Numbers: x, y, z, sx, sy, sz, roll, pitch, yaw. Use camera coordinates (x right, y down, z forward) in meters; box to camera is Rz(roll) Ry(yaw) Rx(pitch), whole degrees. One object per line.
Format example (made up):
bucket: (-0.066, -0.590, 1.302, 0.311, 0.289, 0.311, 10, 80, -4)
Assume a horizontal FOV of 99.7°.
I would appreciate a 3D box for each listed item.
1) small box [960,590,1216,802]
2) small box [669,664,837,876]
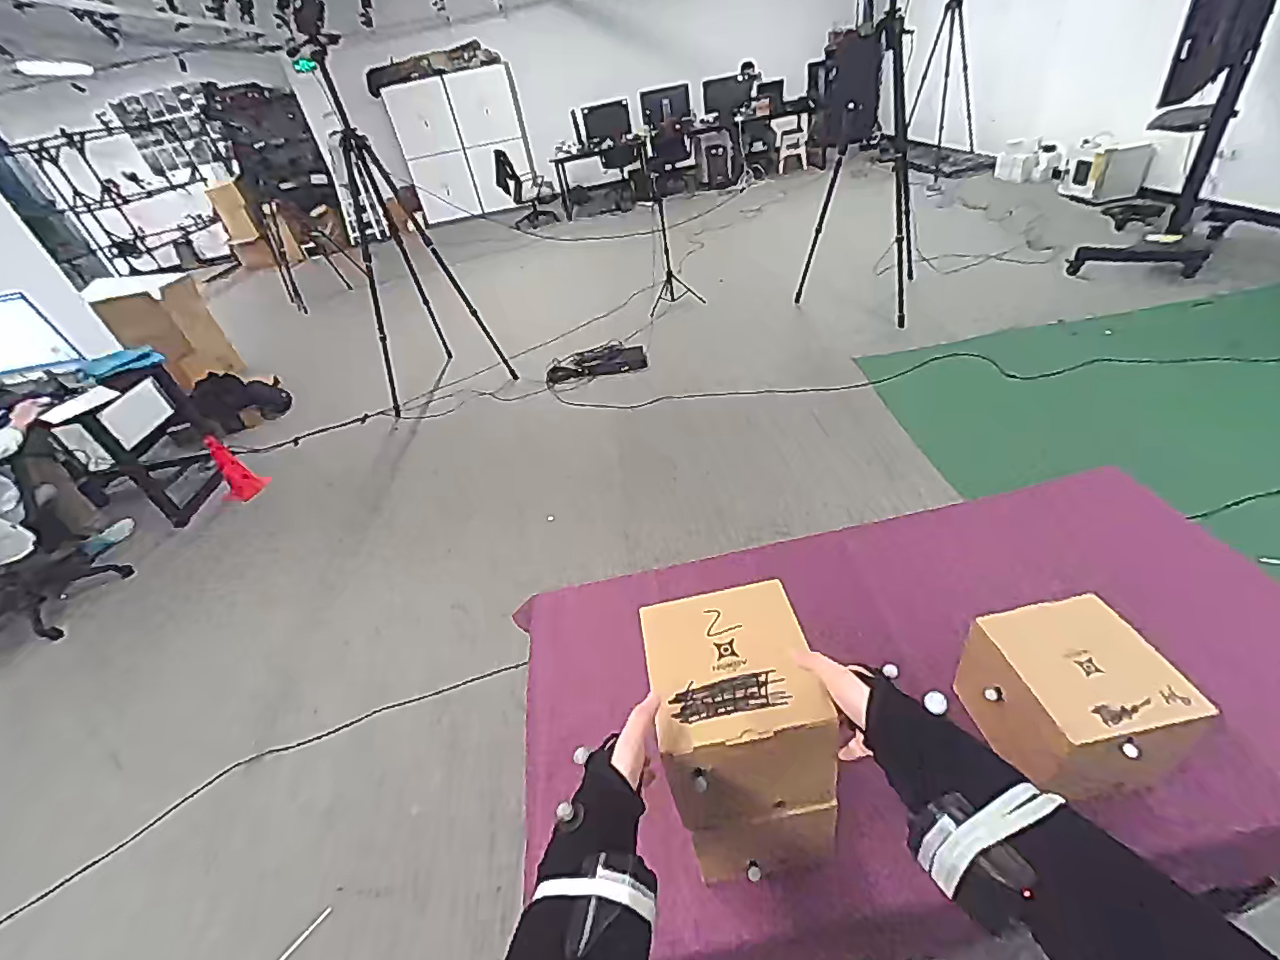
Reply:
small box: (0.547, 0.276, 0.698, 0.168, 0.176, 0.179, -13, 37, 1)
small box: (0.138, 0.372, 0.698, 0.168, 0.176, 0.179, -12, 38, 2)
